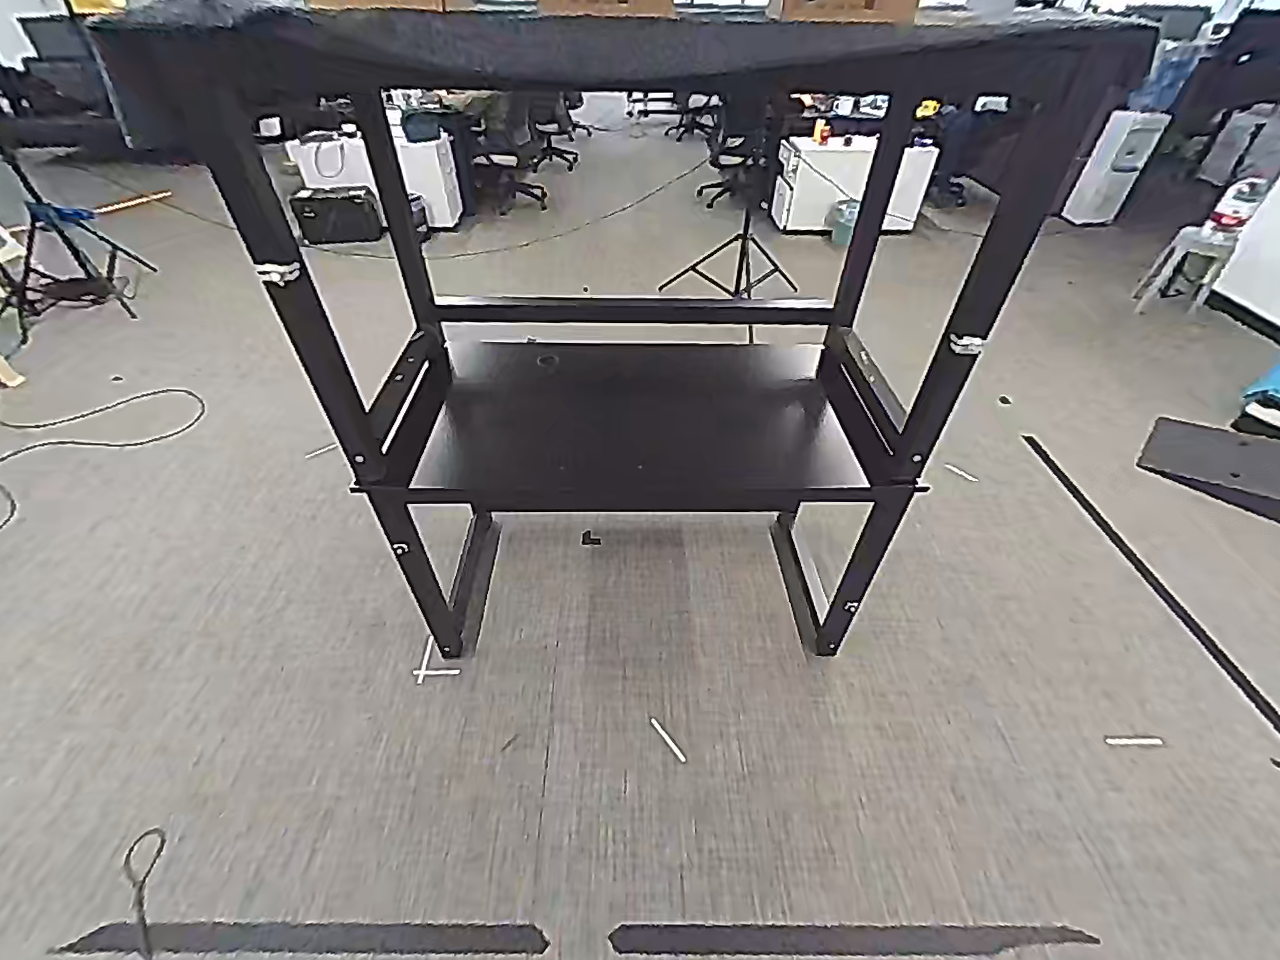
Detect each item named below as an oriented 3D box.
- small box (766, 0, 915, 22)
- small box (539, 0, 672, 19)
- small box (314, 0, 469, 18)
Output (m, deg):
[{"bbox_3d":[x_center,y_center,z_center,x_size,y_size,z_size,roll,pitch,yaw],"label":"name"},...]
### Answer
[{"bbox_3d":[0.259,-0.683,0.672,0.168,0.176,0.179,3,41,2],"label":"small box"},{"bbox_3d":[-0.041,-0.681,0.661,0.168,0.176,0.179,0,41,0],"label":"small box"},{"bbox_3d":[-0.313,-0.678,0.655,0.168,0.176,0.179,0,41,-3],"label":"small box"}]
